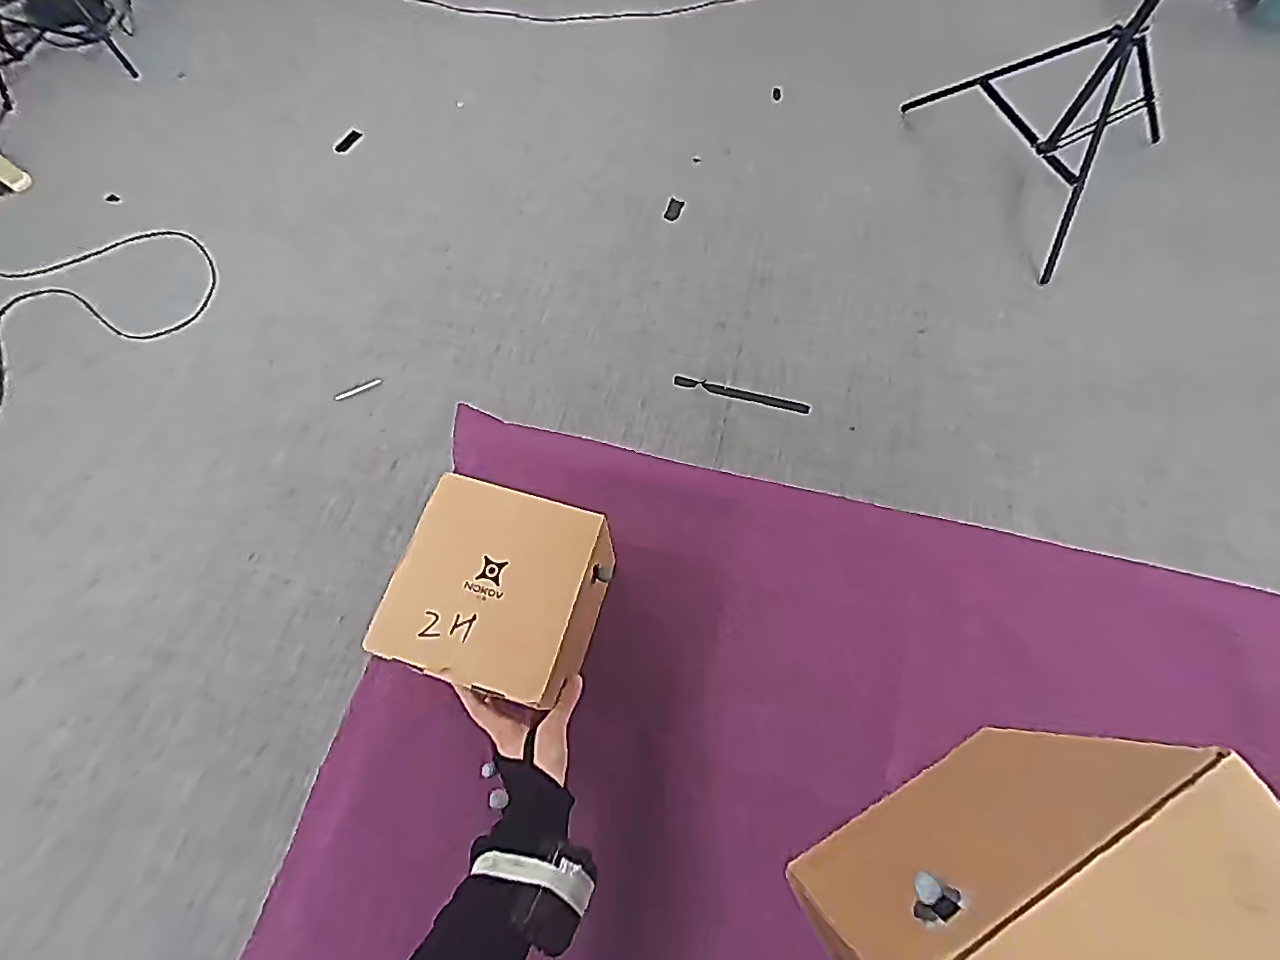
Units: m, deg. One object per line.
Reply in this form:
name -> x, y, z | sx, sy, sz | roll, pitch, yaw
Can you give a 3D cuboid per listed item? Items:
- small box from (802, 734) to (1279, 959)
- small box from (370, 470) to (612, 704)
small box -> 0.211, 0.246, 0.264 | 0.179, 0.176, 0.168 | -28, 71, -10
small box -> -0.131, 0.117, 0.559 | 0.168, 0.176, 0.179 | 15, 69, 7
